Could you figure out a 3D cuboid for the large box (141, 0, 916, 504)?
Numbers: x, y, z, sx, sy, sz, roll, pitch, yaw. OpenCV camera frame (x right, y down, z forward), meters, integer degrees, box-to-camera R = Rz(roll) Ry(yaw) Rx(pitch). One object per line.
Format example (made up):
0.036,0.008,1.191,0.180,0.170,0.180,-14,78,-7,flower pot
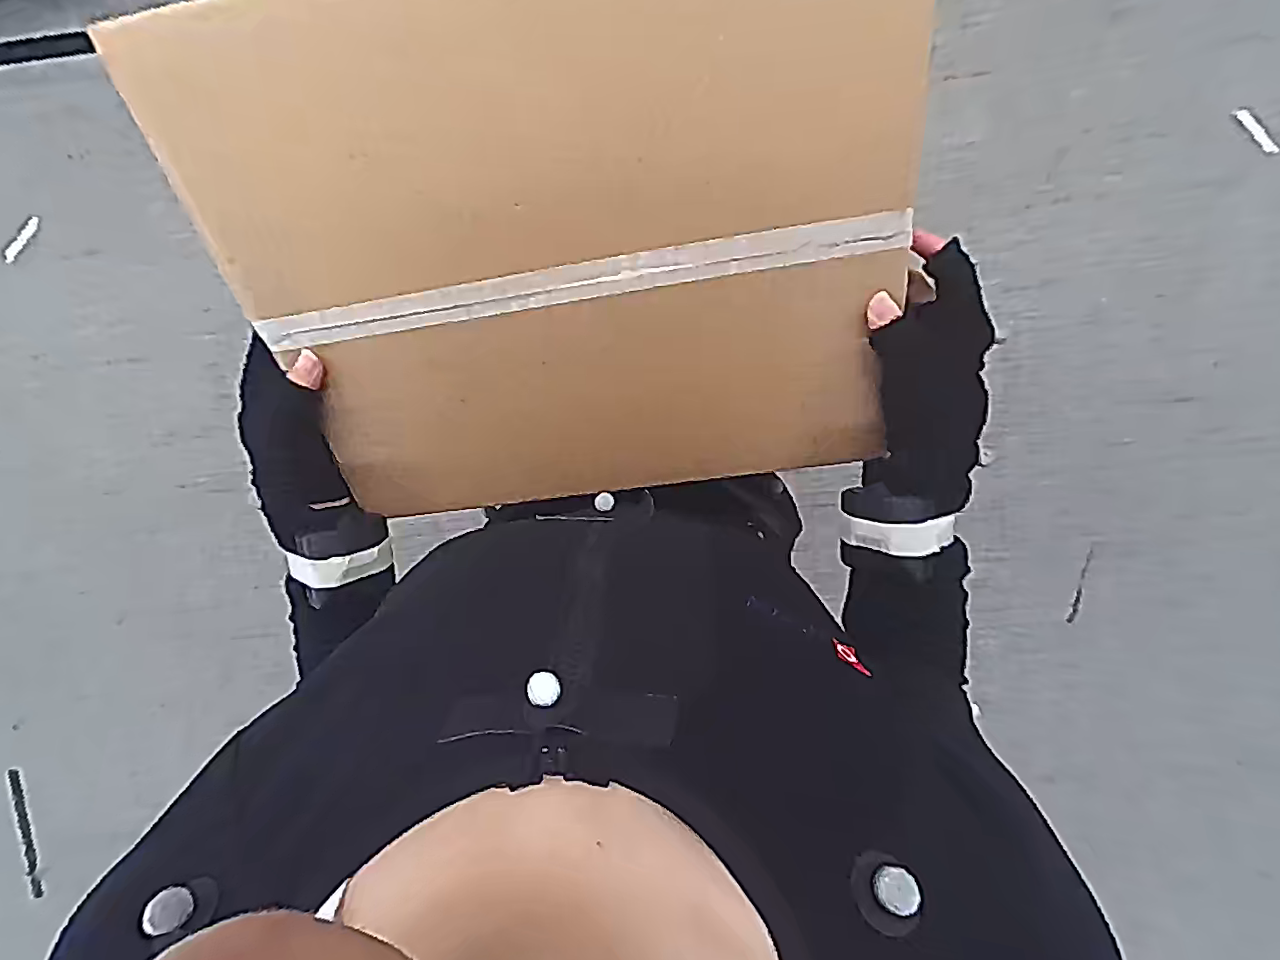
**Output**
-0.042,-0.213,0.463,0.408,0.320,0.320,-7,125,6,large box
